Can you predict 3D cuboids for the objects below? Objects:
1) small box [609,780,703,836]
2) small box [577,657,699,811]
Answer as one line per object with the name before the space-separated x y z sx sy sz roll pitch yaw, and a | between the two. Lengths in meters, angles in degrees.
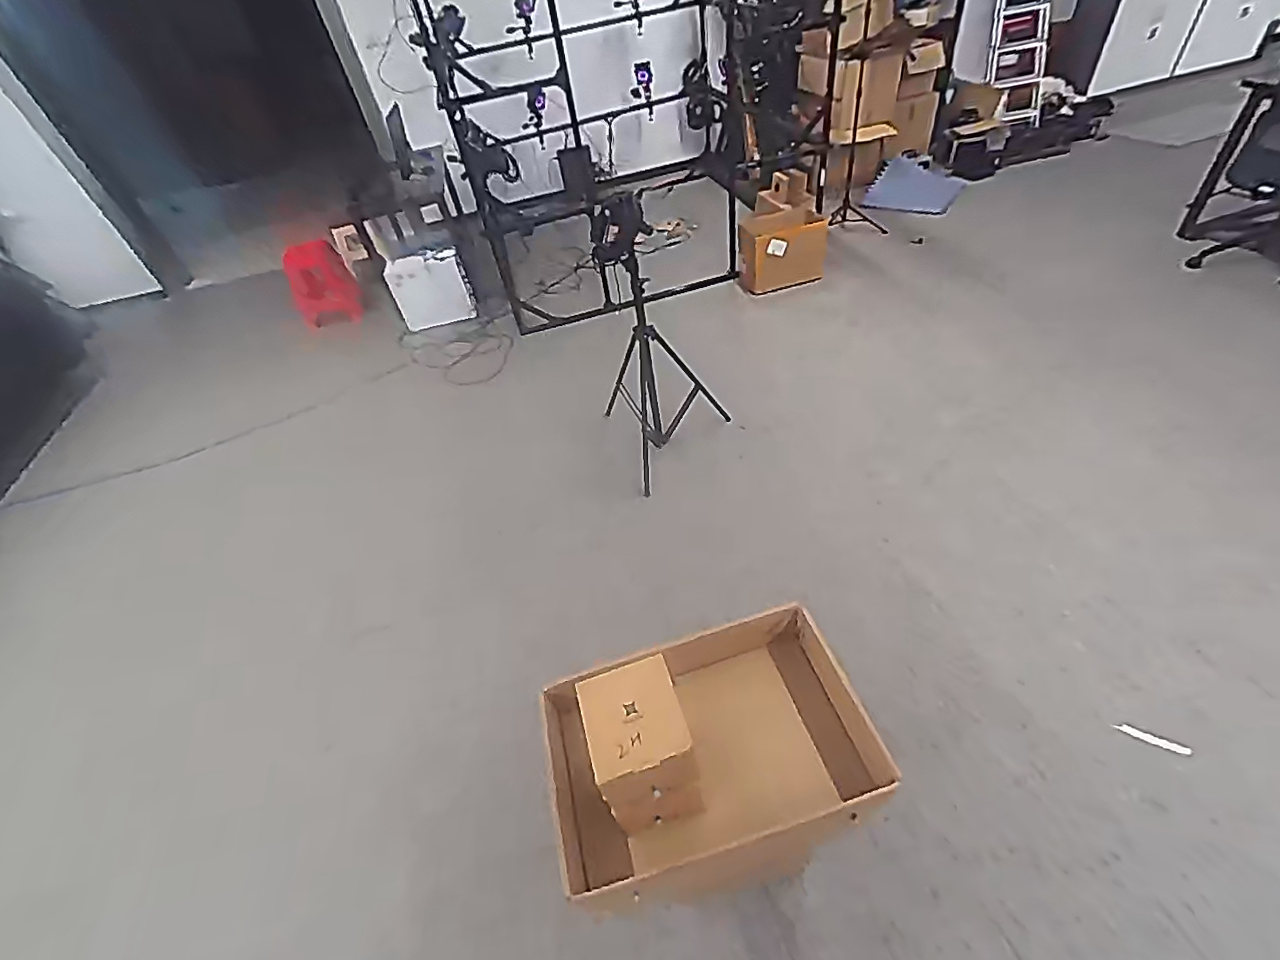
small box | 0.018 0.572 1.077 0.168 0.176 0.179 -17 45 -5
small box | -0.002 0.453 0.964 0.168 0.176 0.179 -18 45 -5
